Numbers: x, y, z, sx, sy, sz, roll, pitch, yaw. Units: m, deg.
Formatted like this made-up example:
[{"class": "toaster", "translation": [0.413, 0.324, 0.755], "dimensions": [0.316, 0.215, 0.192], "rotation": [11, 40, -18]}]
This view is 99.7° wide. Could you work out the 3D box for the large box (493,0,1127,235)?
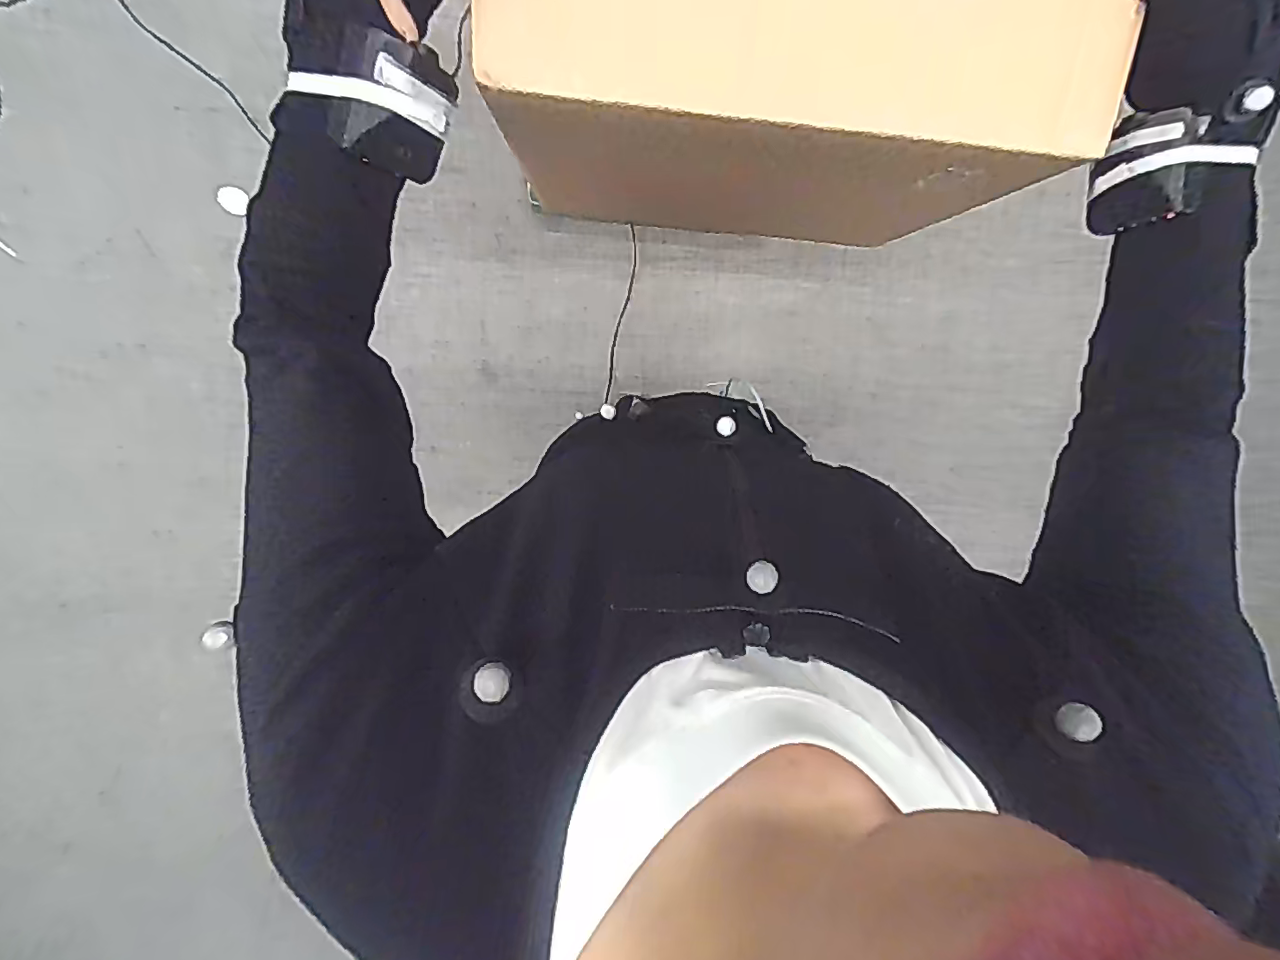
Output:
[{"class": "large box", "translation": [0.105, -0.416, 0.458], "dimensions": [0.408, 0.320, 0.320], "rotation": [4, 104, -4]}]
